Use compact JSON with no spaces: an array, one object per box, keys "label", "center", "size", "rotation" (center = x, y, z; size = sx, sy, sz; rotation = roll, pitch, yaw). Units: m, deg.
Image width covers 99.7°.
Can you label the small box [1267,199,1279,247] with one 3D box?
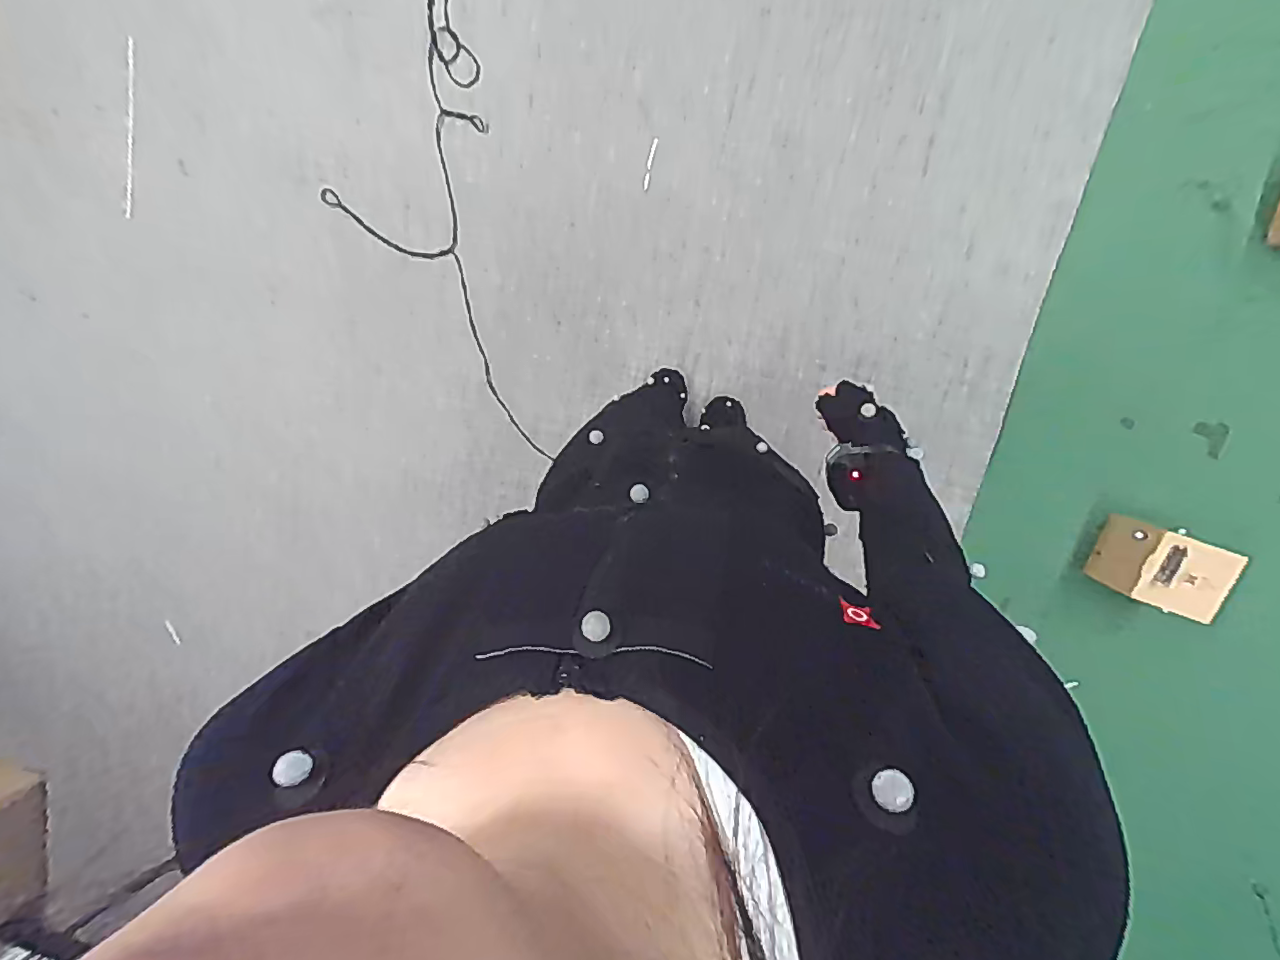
[{"label":"small box","center":[1.445,-0.565,1.085],"size":[0.168,0.176,0.179],"rotation":[11,100,7]}]
